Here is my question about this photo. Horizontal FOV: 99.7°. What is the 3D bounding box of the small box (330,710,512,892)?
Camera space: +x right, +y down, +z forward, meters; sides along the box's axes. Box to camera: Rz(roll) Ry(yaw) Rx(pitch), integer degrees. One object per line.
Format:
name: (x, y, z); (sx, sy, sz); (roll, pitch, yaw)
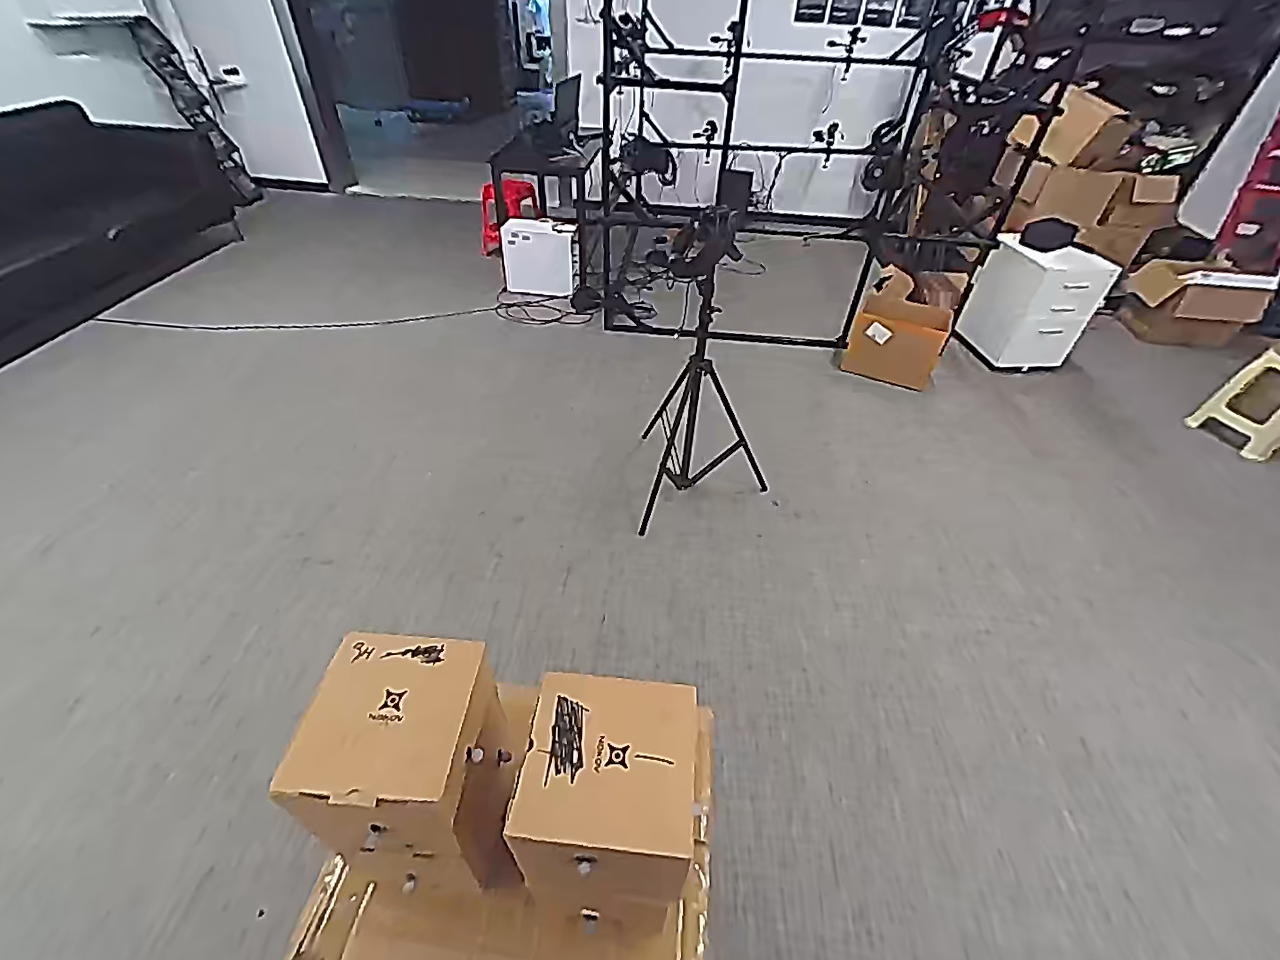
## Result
small box: (-0.277, 0.427, 0.735); (0.168, 0.176, 0.179); (5, 42, 1)

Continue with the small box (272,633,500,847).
small box: (-0.269, 0.303, 0.627); (0.168, 0.176, 0.179); (4, 42, 0)

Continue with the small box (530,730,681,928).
small box: (-0.036, 0.460, 0.716); (0.168, 0.176, 0.179); (4, 43, 4)
